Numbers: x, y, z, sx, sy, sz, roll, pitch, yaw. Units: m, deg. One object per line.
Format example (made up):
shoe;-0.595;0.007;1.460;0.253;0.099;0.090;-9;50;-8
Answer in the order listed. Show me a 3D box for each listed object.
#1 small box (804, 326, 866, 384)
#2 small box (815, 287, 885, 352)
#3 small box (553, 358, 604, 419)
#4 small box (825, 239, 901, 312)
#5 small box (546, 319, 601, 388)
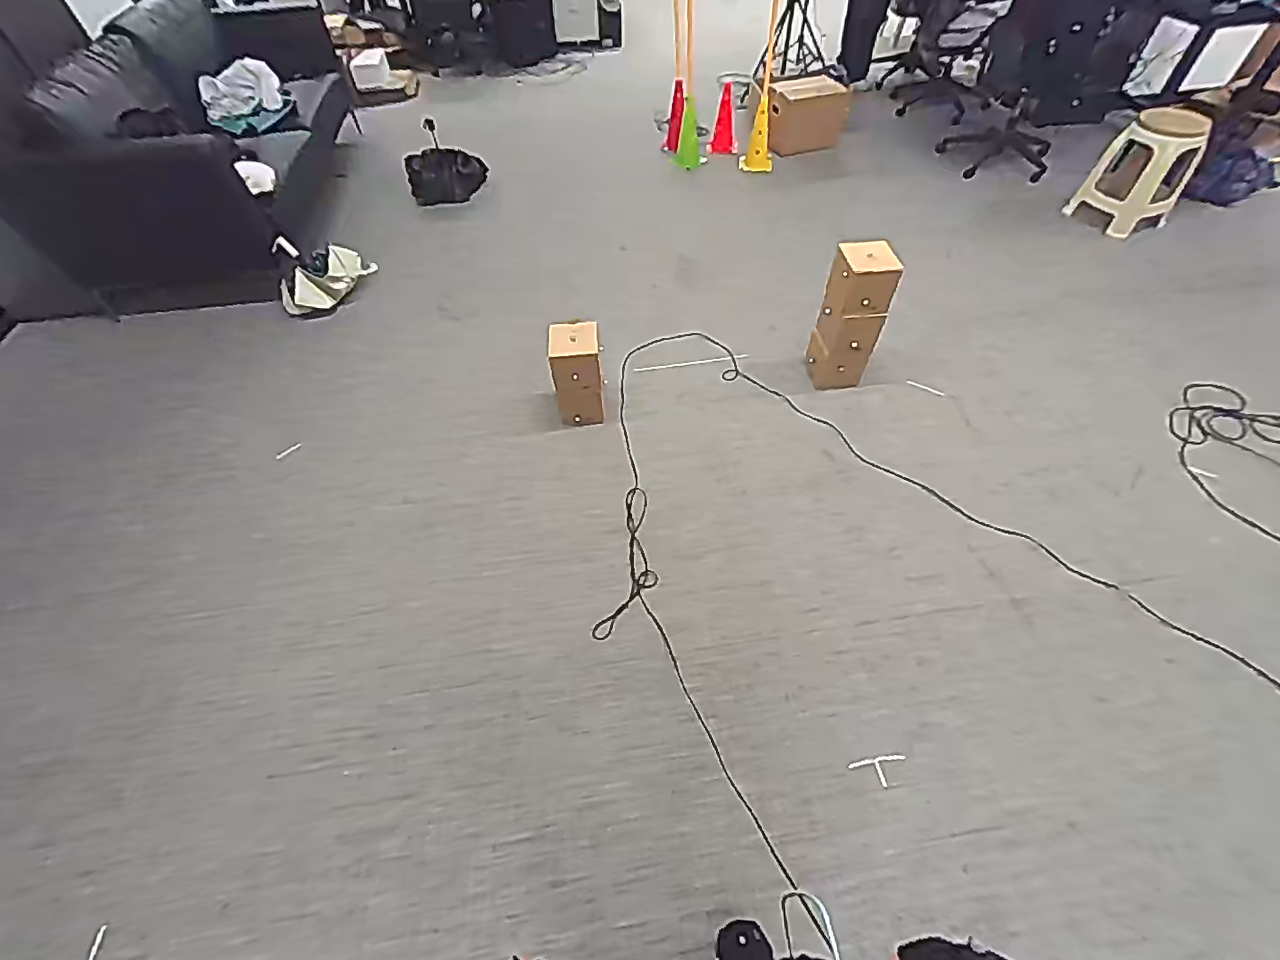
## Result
small box;0.748;-0.486;2.089;0.179;0.176;0.168;-6;53;-2
small box;0.751;-0.586;1.959;0.168;0.176;0.179;-5;53;-2
small box;-0.225;-0.347;2.005;0.168;0.176;0.179;-3;52;0
small box;0.746;-0.692;1.836;0.168;0.176;0.179;-5;53;-3
small box;-0.227;-0.433;1.885;0.168;0.176;0.179;-5;52;-1
